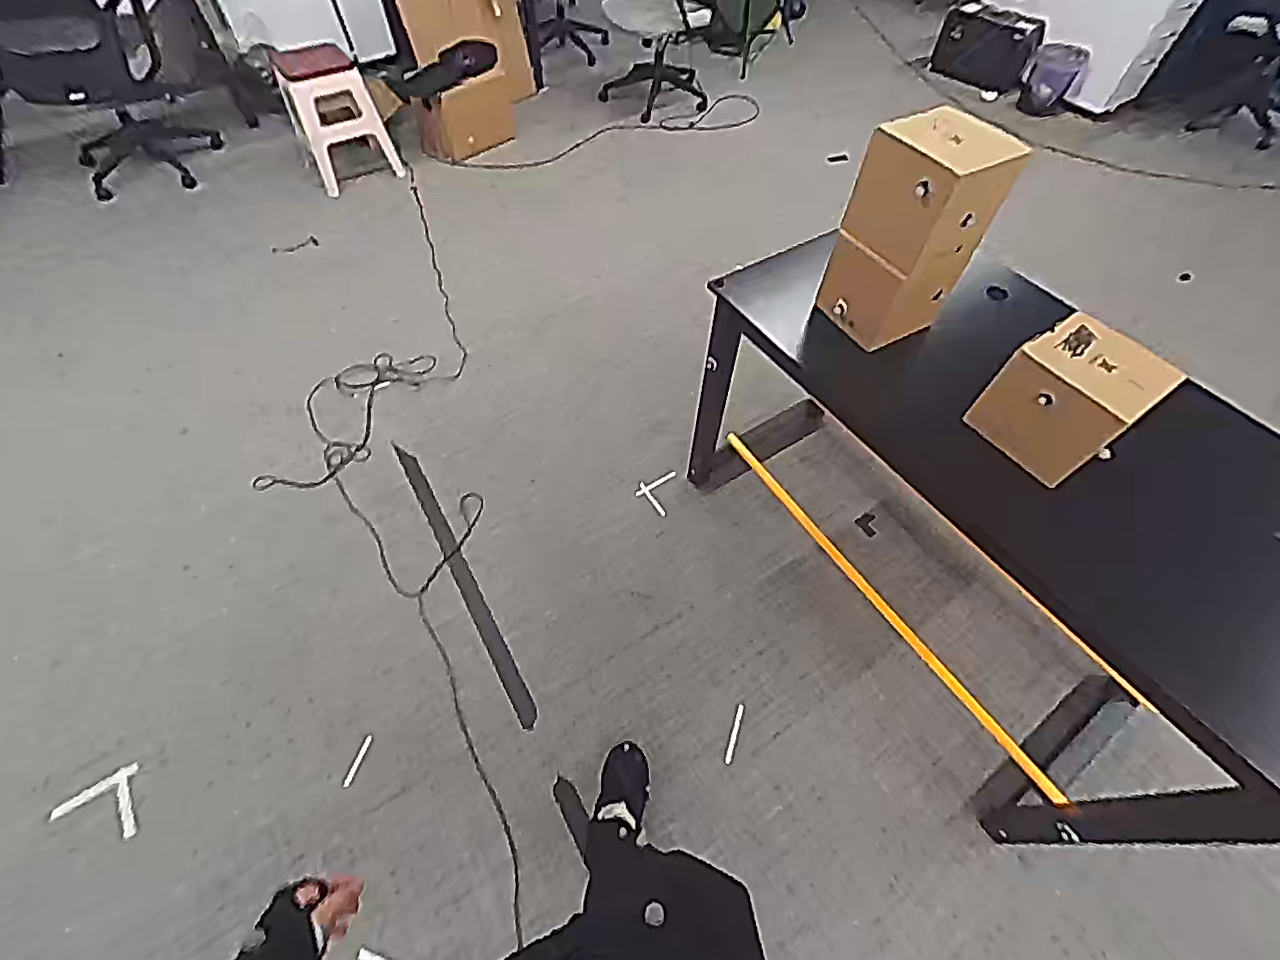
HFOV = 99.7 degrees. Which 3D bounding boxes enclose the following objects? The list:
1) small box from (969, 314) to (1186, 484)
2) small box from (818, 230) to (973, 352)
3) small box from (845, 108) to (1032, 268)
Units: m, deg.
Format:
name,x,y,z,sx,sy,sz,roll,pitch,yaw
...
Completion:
name,x,y,z,sx,sy,sz,roll,pitch,yaw
small box,0.681,-0.126,0.866,0.168,0.176,0.179,-29,63,-19
small box,0.472,-0.376,1.029,0.179,0.176,0.168,-26,60,-16
small box,0.478,-0.474,0.896,0.168,0.176,0.179,-25,60,-18
